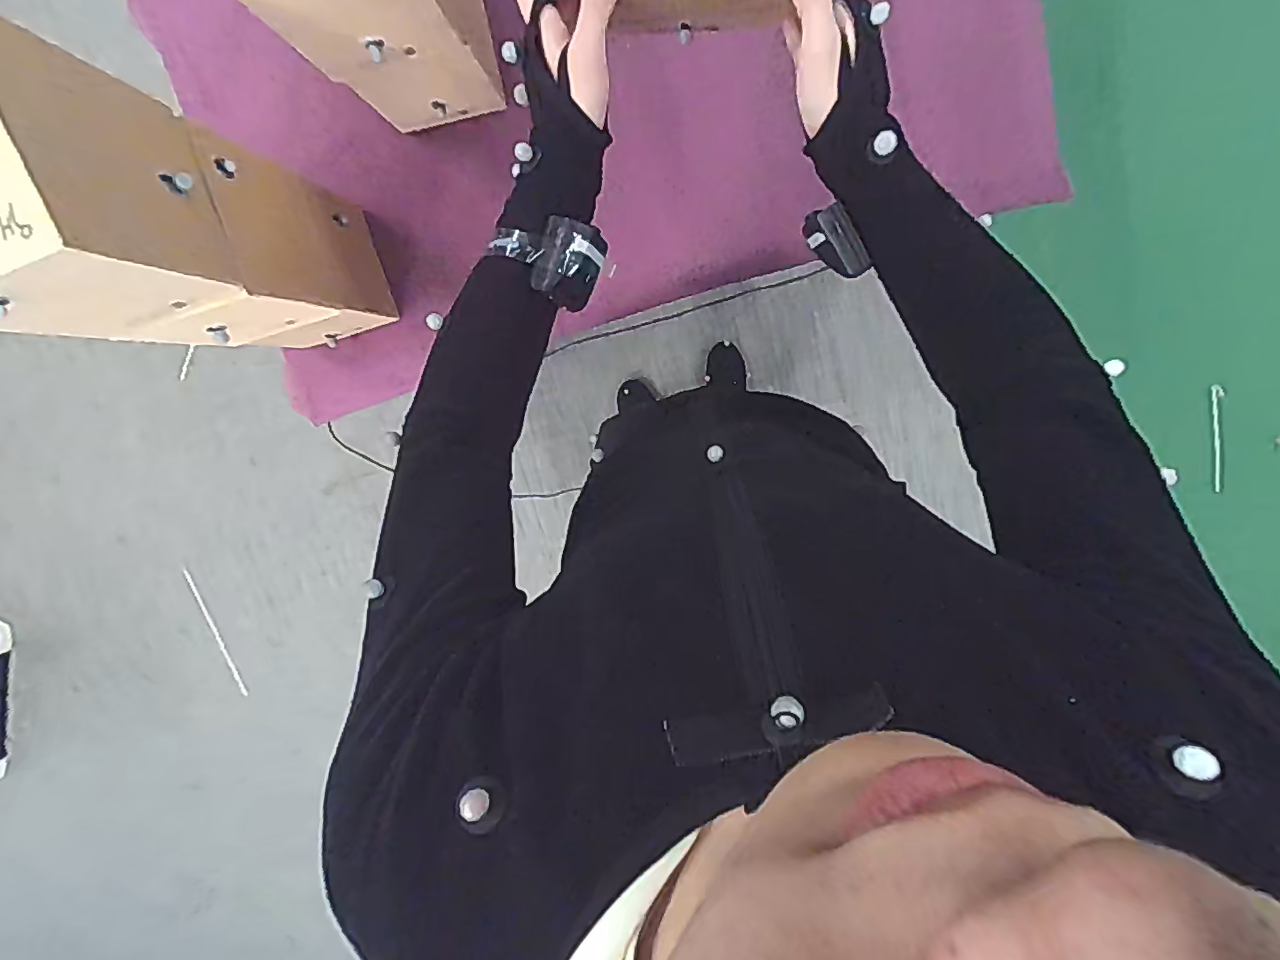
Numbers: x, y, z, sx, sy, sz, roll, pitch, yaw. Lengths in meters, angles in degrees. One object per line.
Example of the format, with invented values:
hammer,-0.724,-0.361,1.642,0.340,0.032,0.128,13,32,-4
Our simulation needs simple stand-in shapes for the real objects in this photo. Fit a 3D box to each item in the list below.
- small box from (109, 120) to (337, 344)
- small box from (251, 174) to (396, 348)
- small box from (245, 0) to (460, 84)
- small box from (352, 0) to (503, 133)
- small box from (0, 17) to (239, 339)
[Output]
small box,-0.488,-0.260,0.618,0.168,0.176,0.179,-14,99,6
small box,-0.487,-0.298,0.775,0.168,0.176,0.179,-15,101,6
small box,-0.306,-0.552,0.545,0.168,0.176,0.179,-12,102,5
small box,-0.295,-0.593,0.704,0.168,0.176,0.179,-10,102,5
small box,-0.500,-0.233,0.456,0.168,0.176,0.179,-17,98,7
